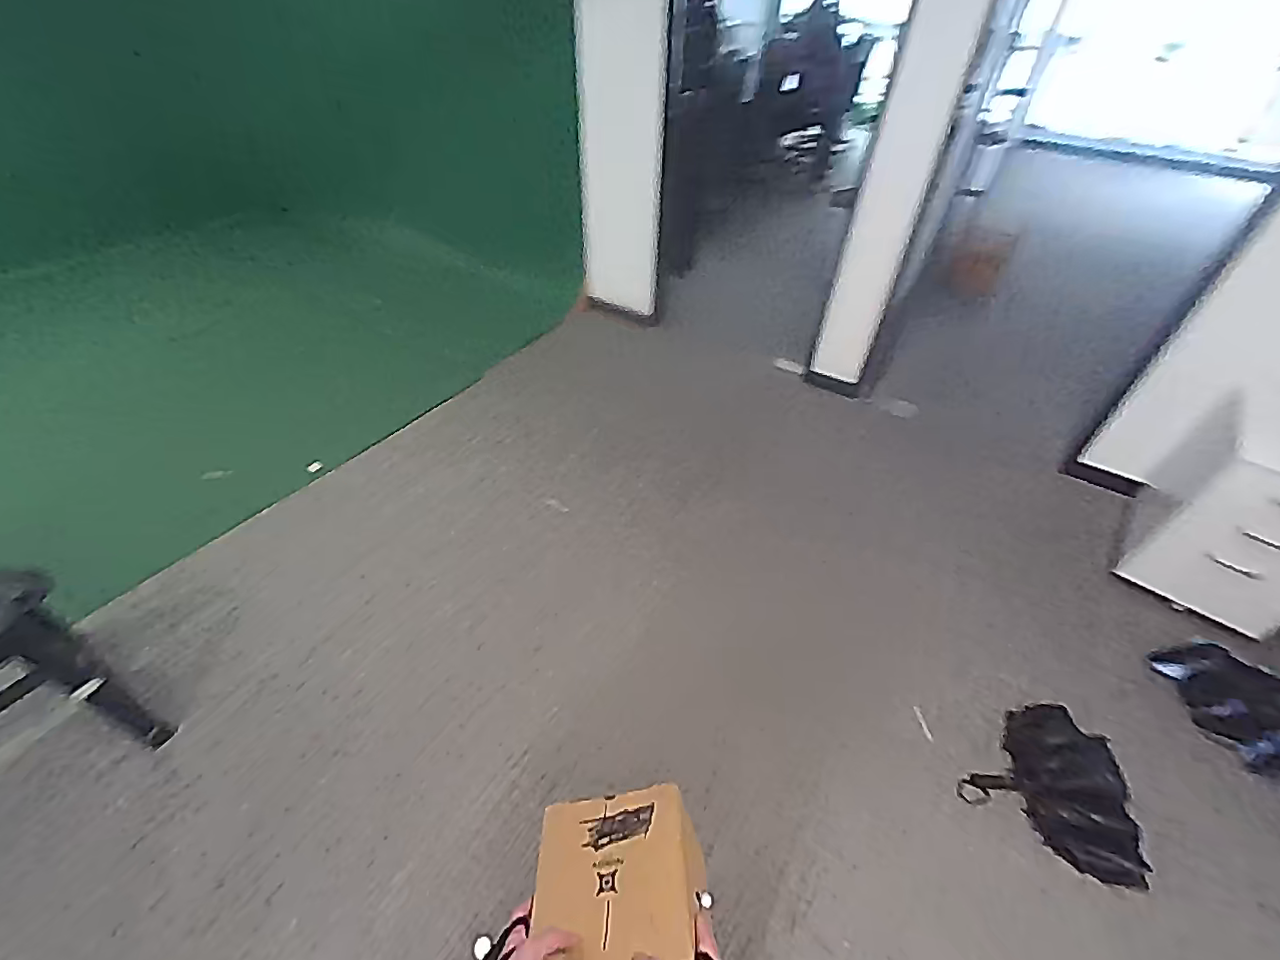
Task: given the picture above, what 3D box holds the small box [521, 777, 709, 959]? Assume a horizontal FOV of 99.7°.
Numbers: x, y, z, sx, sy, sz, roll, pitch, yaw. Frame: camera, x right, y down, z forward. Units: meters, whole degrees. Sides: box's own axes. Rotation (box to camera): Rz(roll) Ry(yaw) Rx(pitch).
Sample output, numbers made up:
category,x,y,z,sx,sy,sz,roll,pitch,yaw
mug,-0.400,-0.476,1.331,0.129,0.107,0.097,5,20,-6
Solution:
category,x,y,z,sx,sy,sz,roll,pitch,yaw
small box,-0.020,0.489,0.626,0.168,0.176,0.179,-15,28,5
